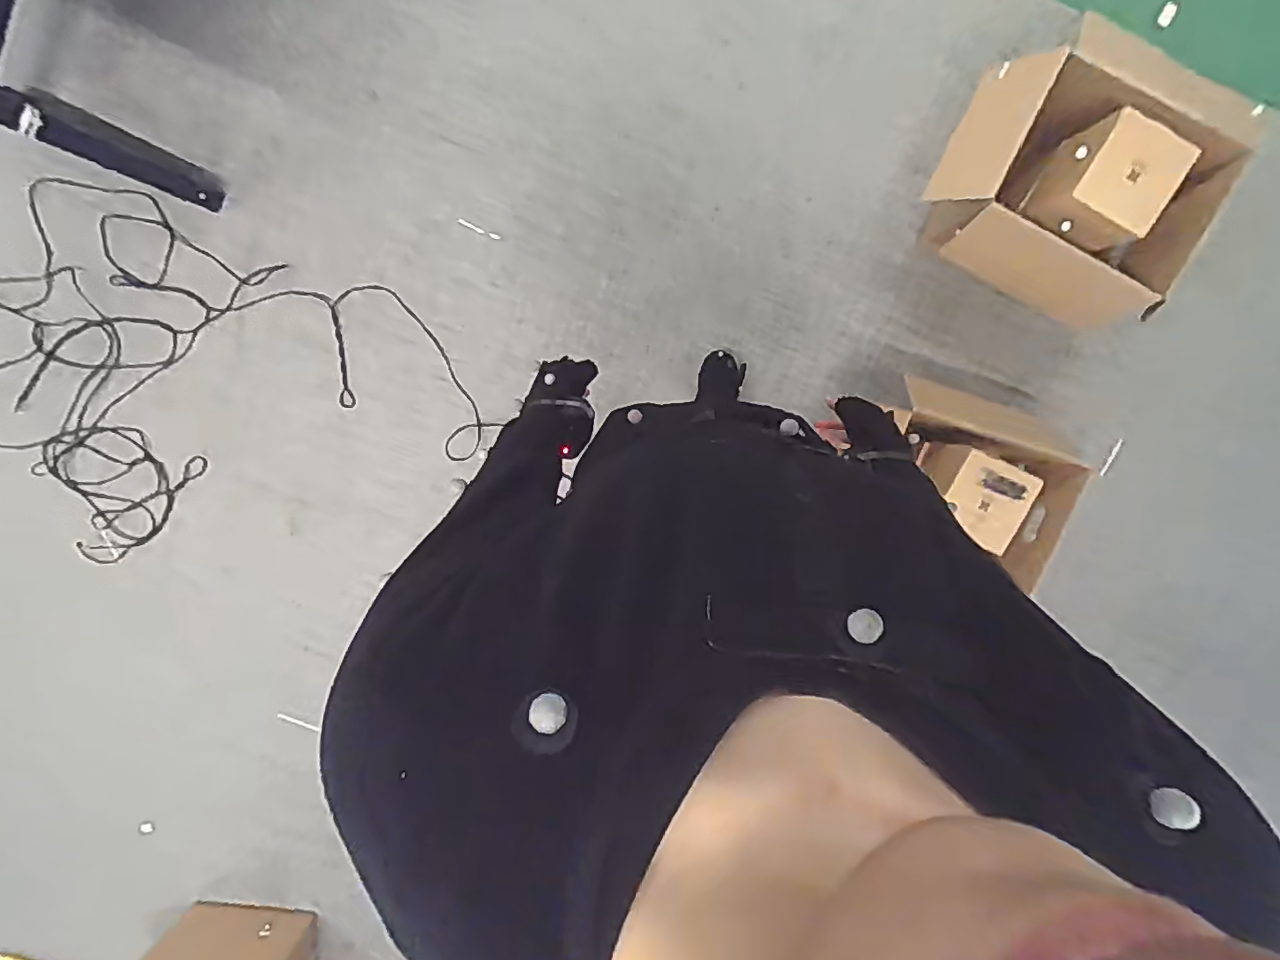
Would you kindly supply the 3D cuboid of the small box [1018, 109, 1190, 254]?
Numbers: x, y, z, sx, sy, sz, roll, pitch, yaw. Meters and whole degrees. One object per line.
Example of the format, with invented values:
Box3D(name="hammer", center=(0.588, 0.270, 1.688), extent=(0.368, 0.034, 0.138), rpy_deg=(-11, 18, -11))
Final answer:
Box3D(name="small box", center=(0.919, -0.588, 1.095), extent=(0.168, 0.176, 0.179), rpy_deg=(28, 99, -3))
